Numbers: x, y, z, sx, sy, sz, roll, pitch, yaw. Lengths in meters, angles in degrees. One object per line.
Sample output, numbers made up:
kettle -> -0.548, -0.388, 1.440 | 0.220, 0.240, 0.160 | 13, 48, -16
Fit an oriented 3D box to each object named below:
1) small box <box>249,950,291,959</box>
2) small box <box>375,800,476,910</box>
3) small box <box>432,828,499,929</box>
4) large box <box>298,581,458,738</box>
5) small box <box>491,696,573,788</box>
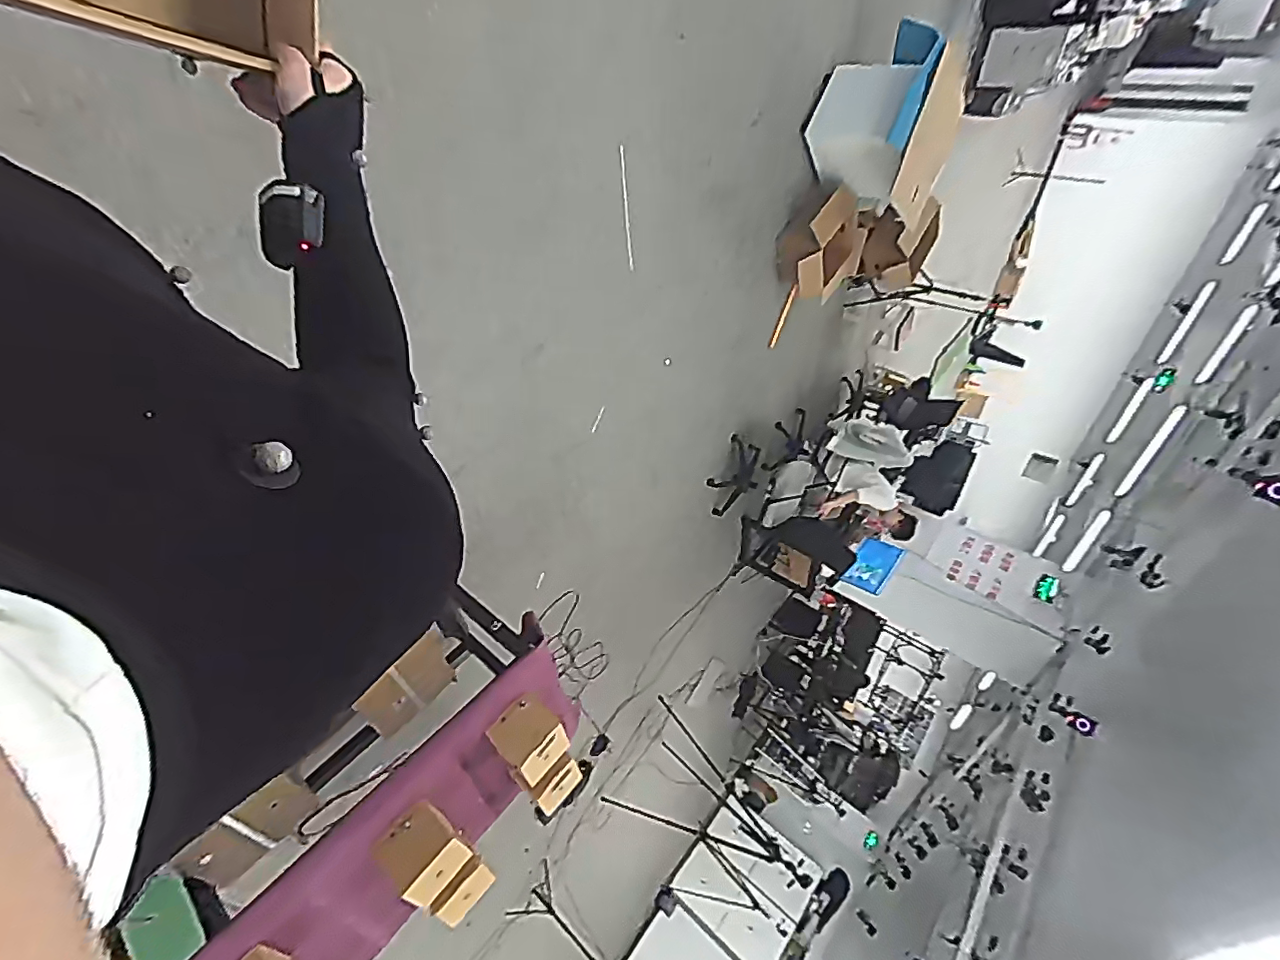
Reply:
small box -> -0.858, 1.212, 1.214 | 0.168, 0.176, 0.179 | -40, 144, -36
small box -> -0.584, 1.020, 1.479 | 0.168, 0.176, 0.179 | -42, 143, -32
small box -> -0.565, 1.213, 1.654 | 0.168, 0.176, 0.179 | -39, 141, -33
large box -> -0.934, 0.647, 1.961 | 0.320, 0.320, 0.408 | -41, 144, -31
small box -> -0.336, 0.805, 1.679 | 0.168, 0.176, 0.179 | -41, 144, -31
